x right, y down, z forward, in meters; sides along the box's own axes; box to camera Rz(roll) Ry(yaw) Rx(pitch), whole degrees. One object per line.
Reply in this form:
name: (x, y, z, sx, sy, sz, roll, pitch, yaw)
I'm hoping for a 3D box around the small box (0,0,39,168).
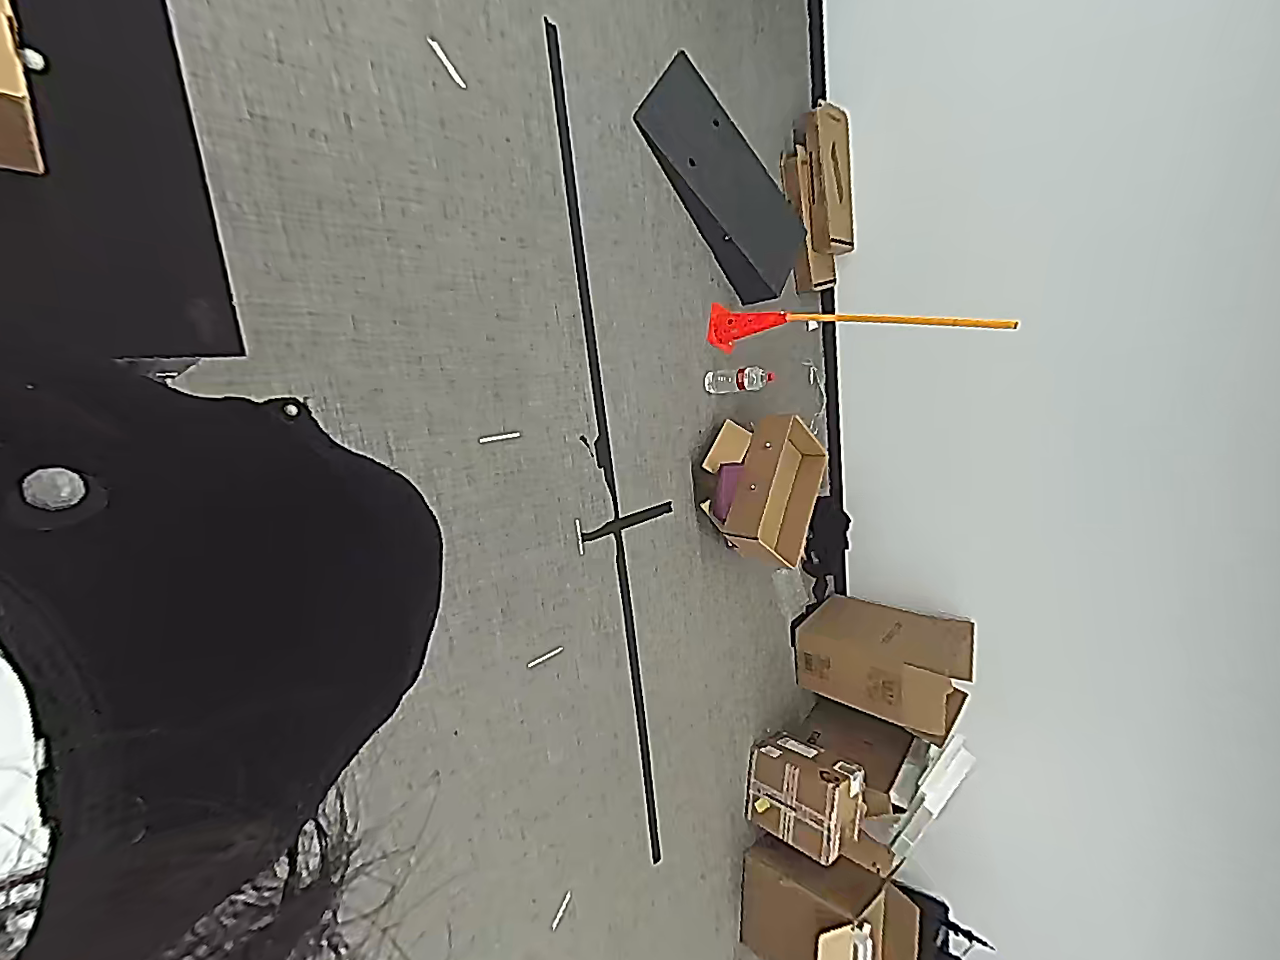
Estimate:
small box: (-0.601, -0.363, 0.405, 0.179, 0.176, 0.168, -14, 103, -45)
